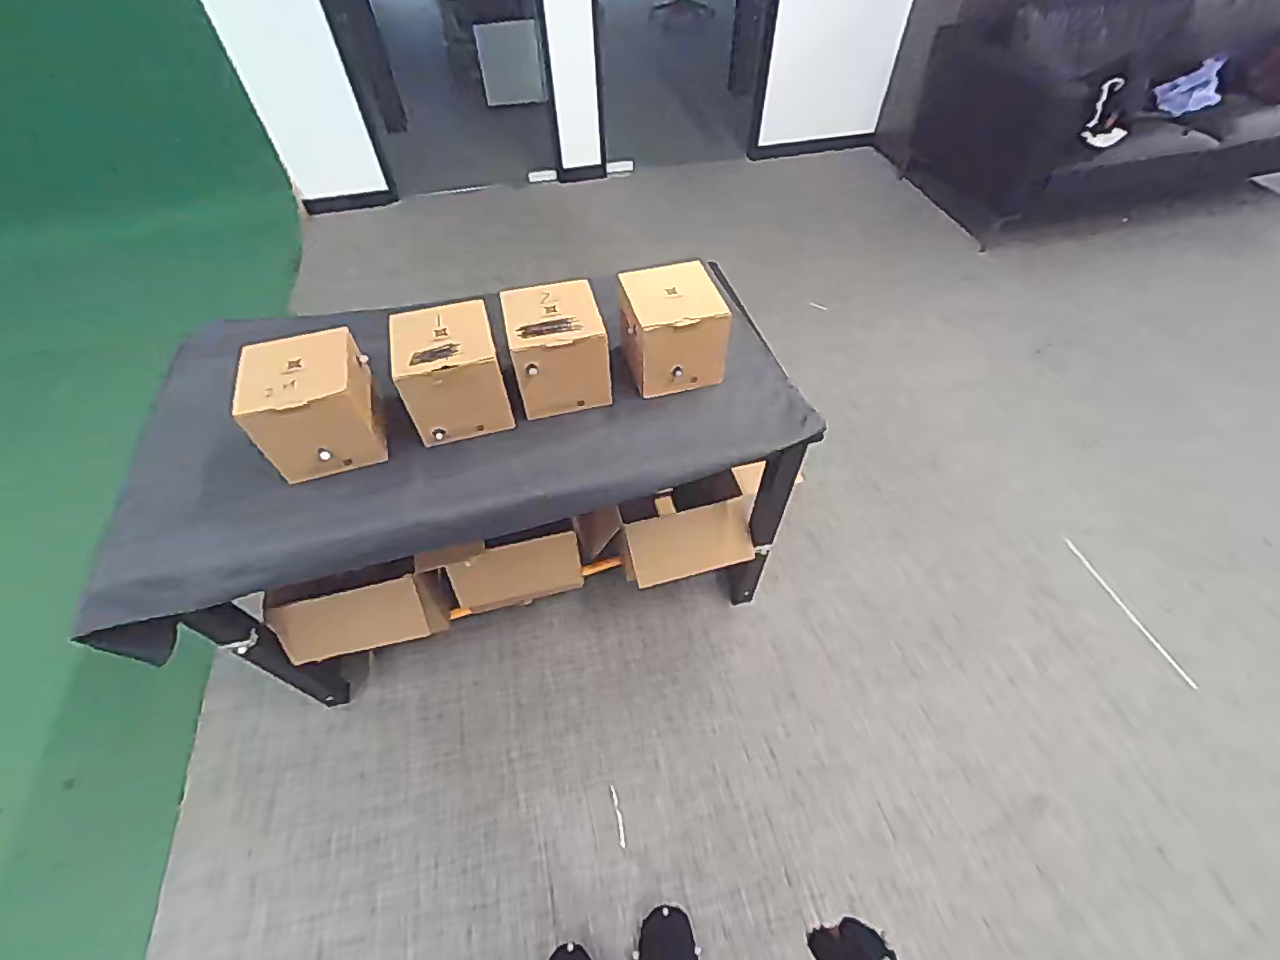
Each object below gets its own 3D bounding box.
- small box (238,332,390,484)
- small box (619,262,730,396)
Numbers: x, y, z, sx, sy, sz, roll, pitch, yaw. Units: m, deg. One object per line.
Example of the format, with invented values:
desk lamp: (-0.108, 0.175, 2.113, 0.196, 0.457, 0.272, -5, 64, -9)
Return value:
small box: (-0.548, -0.123, 0.932, 0.168, 0.176, 0.179, -16, 54, -11)
small box: (0.059, -0.292, 1.050, 0.168, 0.176, 0.179, -14, 54, -9)
